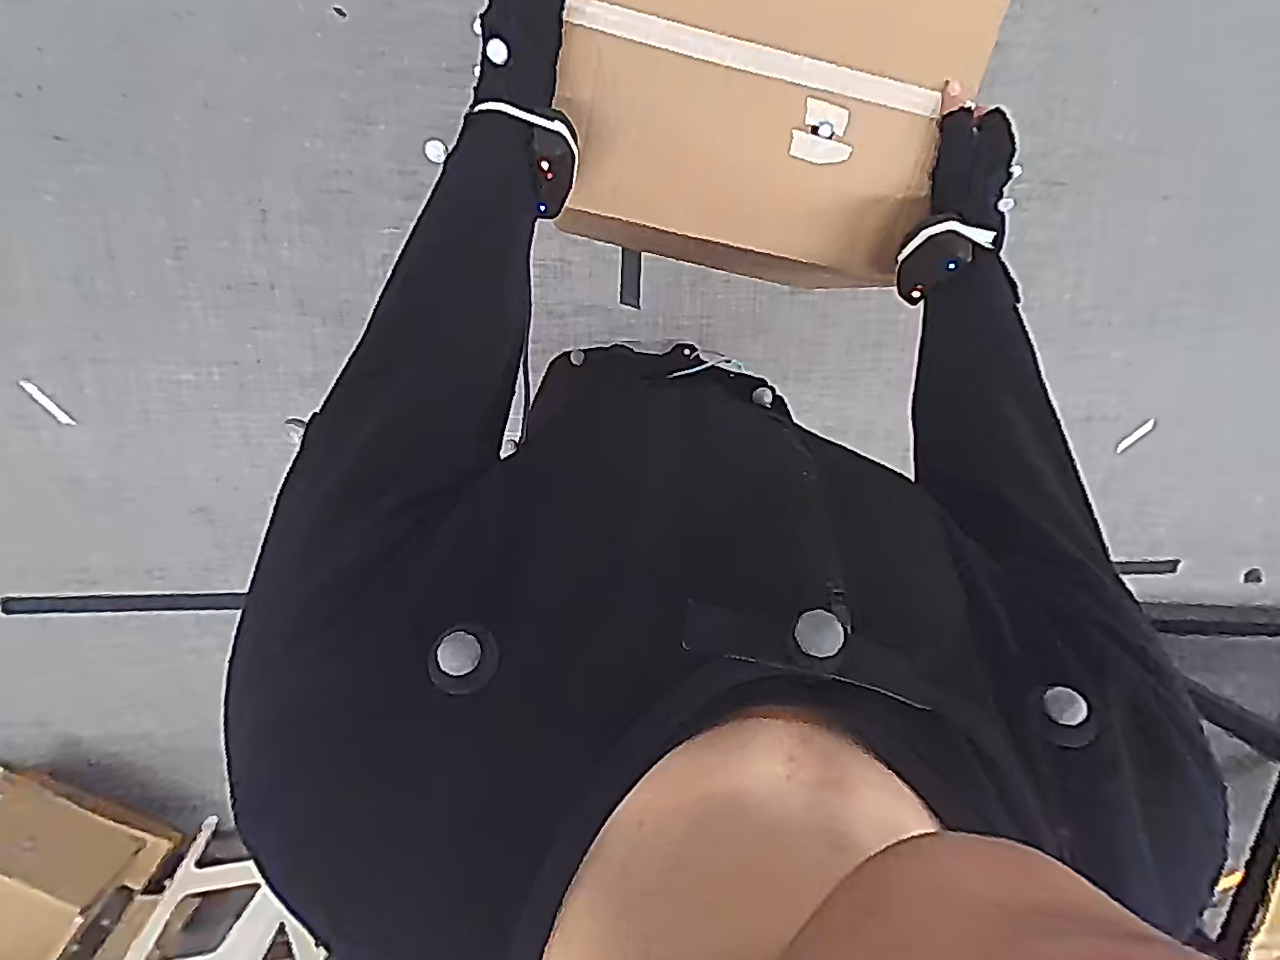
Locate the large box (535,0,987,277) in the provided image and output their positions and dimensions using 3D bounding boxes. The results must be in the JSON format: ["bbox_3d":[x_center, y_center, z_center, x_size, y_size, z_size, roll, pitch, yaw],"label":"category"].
[{"bbox_3d":[0.104,-0.444,0.653,0.408,0.320,0.320,9,110,-7],"label":"large box"}]
